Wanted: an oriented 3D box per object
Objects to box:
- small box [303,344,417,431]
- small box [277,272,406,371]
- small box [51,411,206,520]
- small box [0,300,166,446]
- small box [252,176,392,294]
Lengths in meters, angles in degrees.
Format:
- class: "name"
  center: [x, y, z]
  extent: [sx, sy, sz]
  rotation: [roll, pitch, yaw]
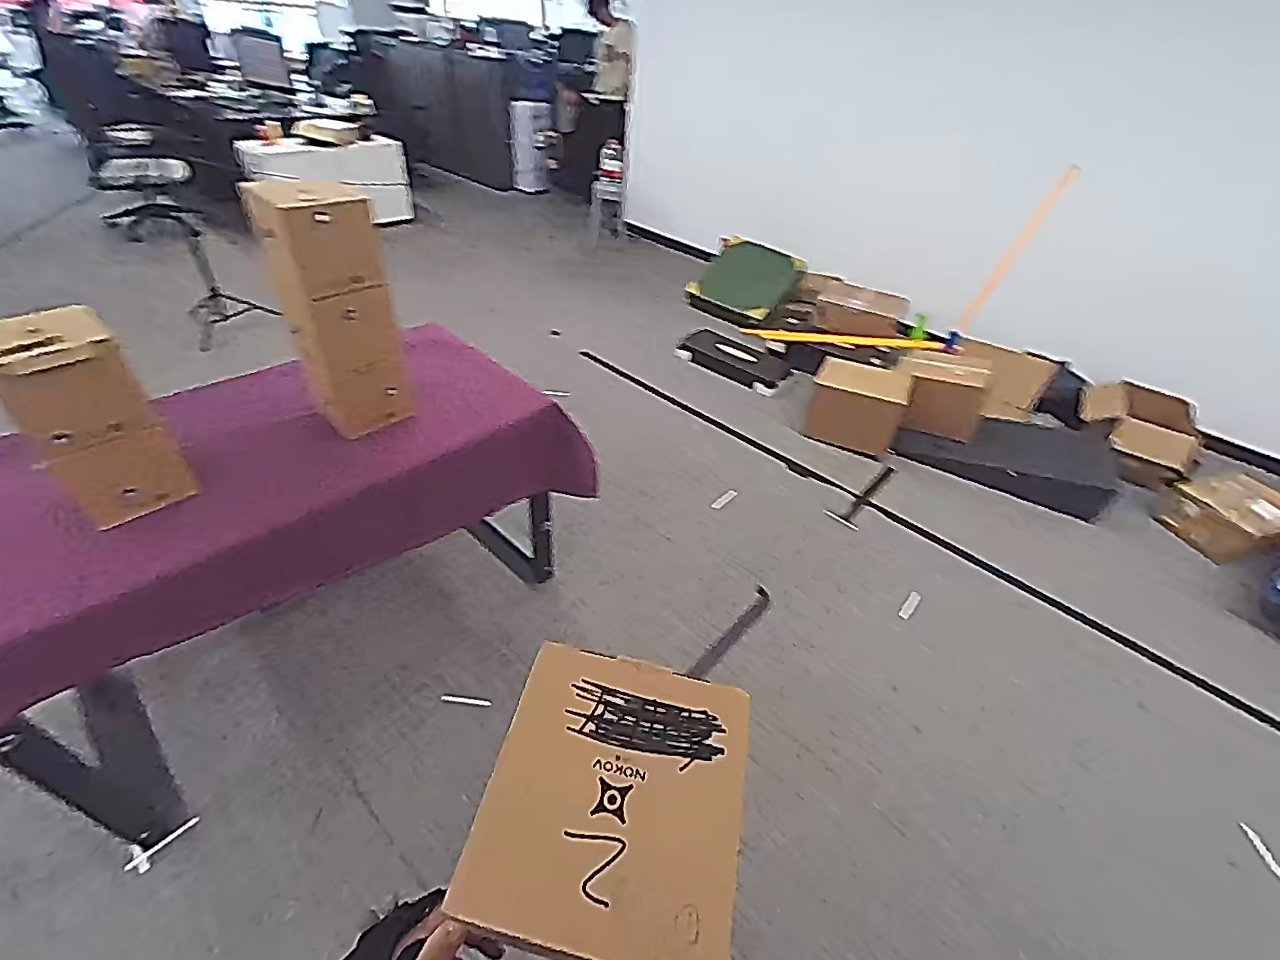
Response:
- class: "small box"
  center: [-0.654, -0.237, 1.282]
  extent: [0.179, 0.176, 0.168]
  rotation: [34, 47, 28]
- class: "small box"
  center: [-0.637, -0.358, 1.173]
  extent: [0.168, 0.176, 0.179]
  rotation: [34, 47, 27]
- class: "small box"
  center: [-0.977, -0.055, 1.028]
  extent: [0.179, 0.176, 0.168]
  rotation: [34, 47, 27]
- class: "small box"
  center: [-0.963, -0.179, 0.921]
  extent: [0.179, 0.176, 0.168]
  rotation: [32, 46, 27]
- class: "small box"
  center: [-0.623, -0.487, 1.072]
  extent: [0.179, 0.176, 0.168]
  rotation: [34, 47, 28]
